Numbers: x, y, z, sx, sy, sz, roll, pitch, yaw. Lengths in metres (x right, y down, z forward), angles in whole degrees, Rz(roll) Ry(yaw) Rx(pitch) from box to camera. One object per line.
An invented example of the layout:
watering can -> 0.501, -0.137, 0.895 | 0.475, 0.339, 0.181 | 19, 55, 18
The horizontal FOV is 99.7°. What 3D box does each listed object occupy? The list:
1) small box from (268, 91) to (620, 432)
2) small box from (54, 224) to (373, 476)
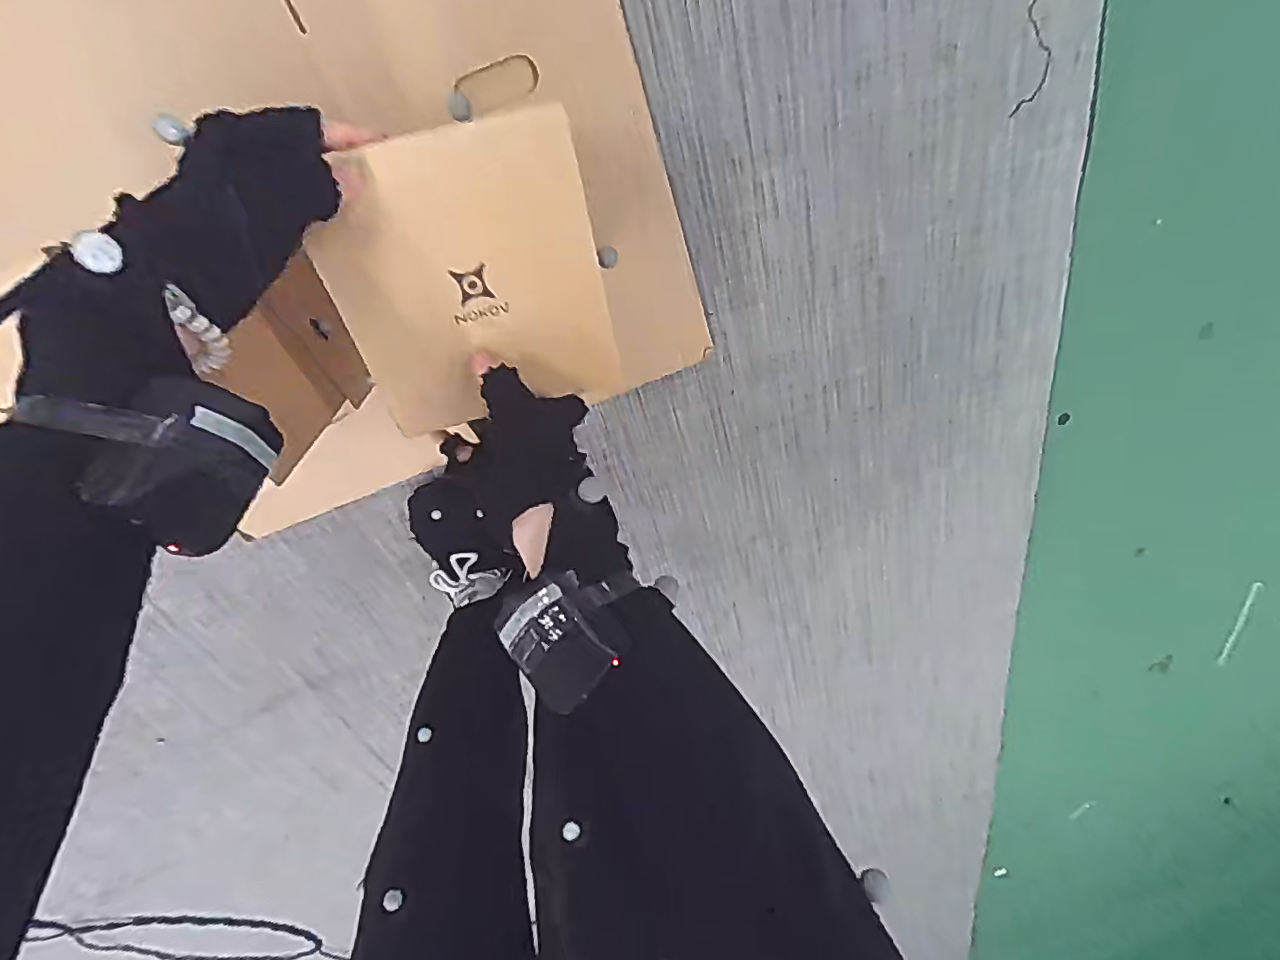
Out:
small box -> -0.126, -0.167, 0.408 | 0.168, 0.176, 0.179 | -17, 126, -3
small box -> -0.397, -0.140, 0.556 | 0.168, 0.176, 0.179 | -25, 121, 3
